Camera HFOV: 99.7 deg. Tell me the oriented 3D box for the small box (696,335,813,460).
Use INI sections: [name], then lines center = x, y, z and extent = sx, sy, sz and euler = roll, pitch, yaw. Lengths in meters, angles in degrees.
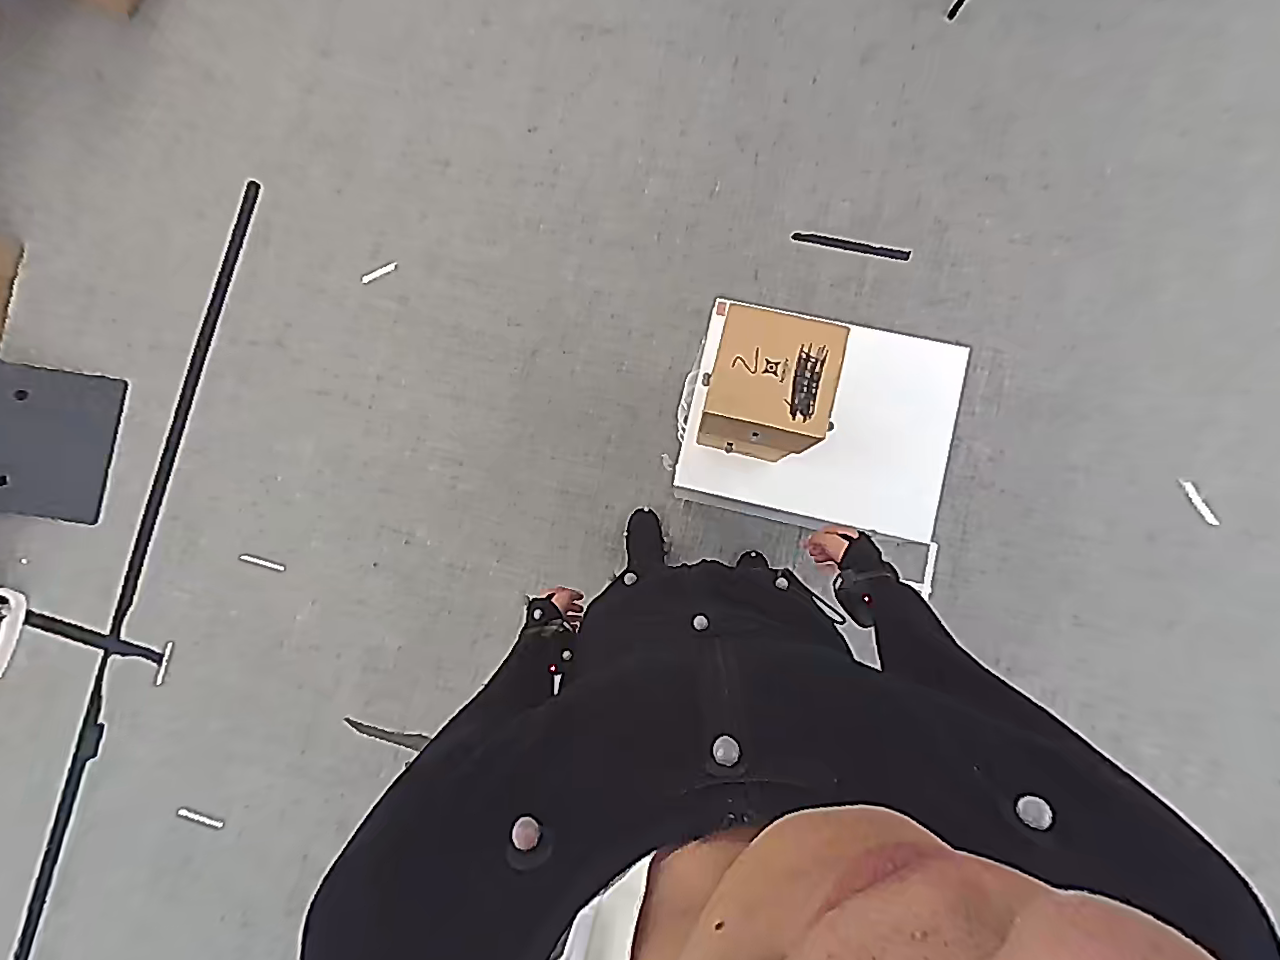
[small box]
center = 0.203, -0.143, 1.003
extent = 0.168, 0.176, 0.179
euler = 14, 86, 4
